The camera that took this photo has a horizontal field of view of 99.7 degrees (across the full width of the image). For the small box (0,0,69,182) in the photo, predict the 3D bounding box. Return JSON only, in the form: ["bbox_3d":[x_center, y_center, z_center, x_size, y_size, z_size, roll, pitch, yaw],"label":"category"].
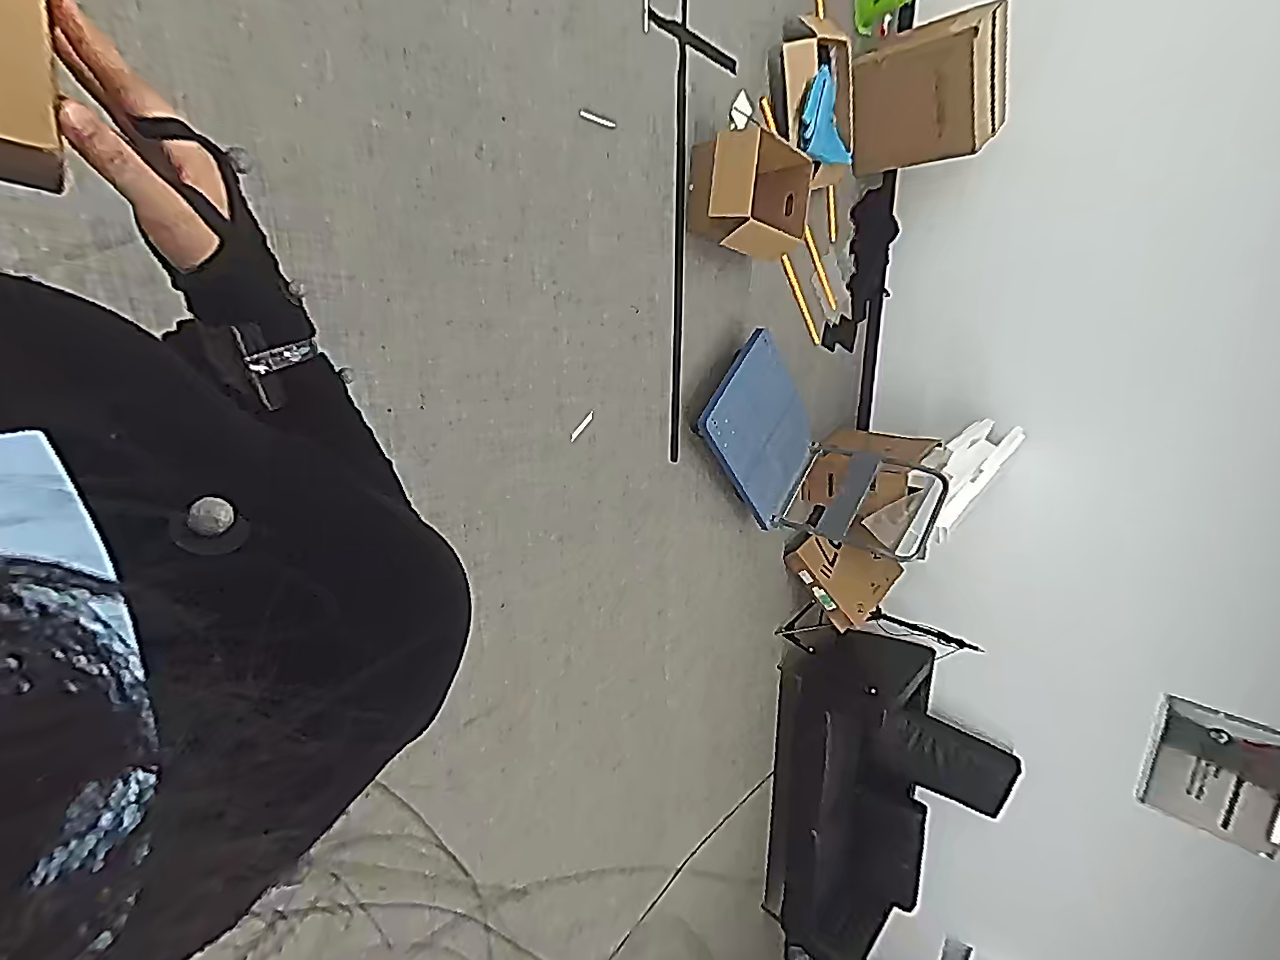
[{"bbox_3d":[-0.376,-0.255,0.238,0.168,0.176,0.179,-4,107,-47],"label":"small box"}]
